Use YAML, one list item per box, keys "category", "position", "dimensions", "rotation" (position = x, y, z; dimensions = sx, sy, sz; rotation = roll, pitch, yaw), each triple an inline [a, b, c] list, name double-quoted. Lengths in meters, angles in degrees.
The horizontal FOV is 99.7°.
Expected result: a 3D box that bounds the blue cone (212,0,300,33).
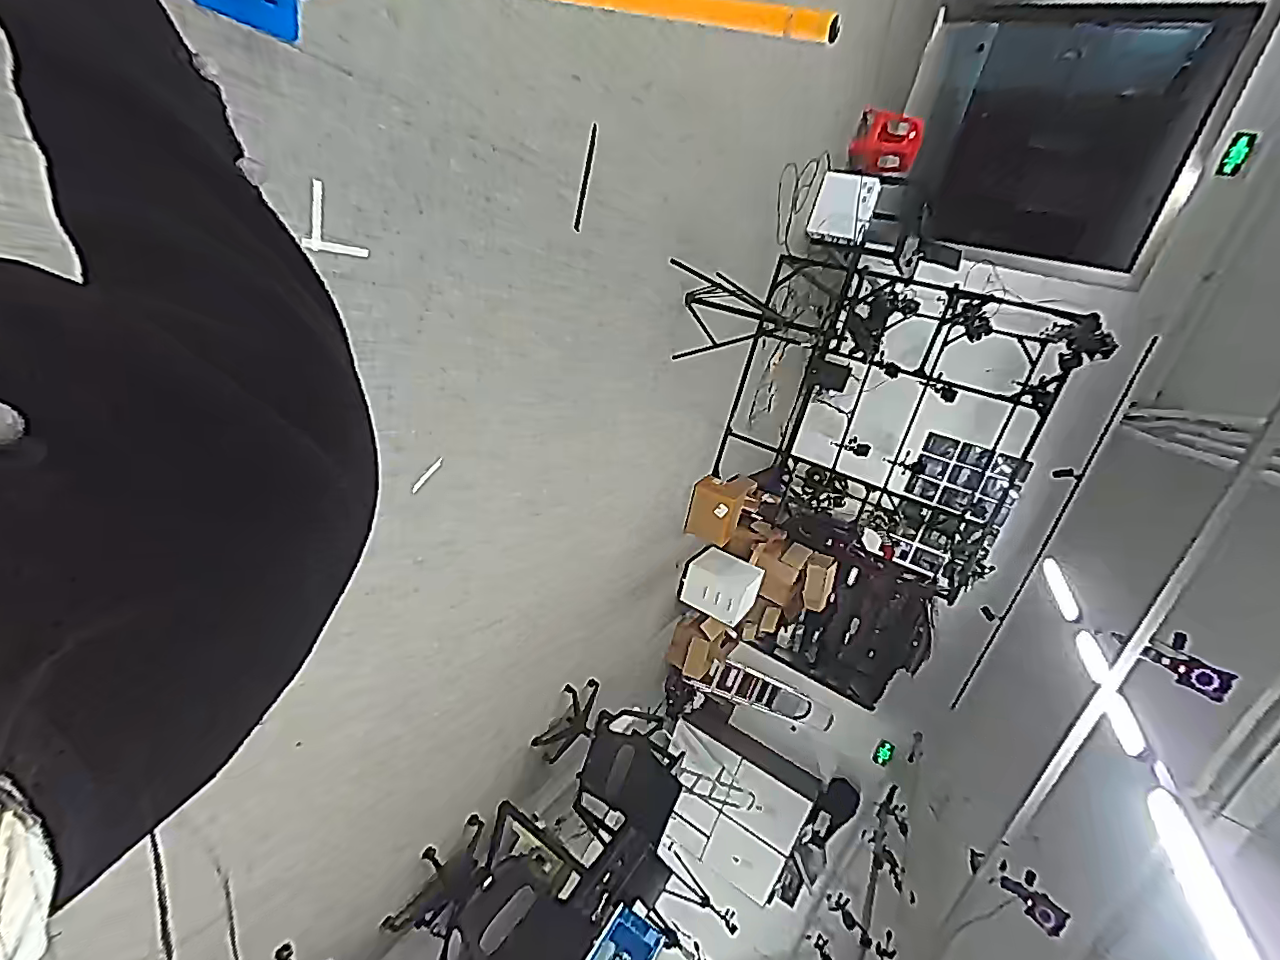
- category: "blue cone"
  position: [-0.621, -0.947, 0.977]
  dimensions: [0.193, 0.380, 0.192]
  rotation: [-23, 130, -57]
